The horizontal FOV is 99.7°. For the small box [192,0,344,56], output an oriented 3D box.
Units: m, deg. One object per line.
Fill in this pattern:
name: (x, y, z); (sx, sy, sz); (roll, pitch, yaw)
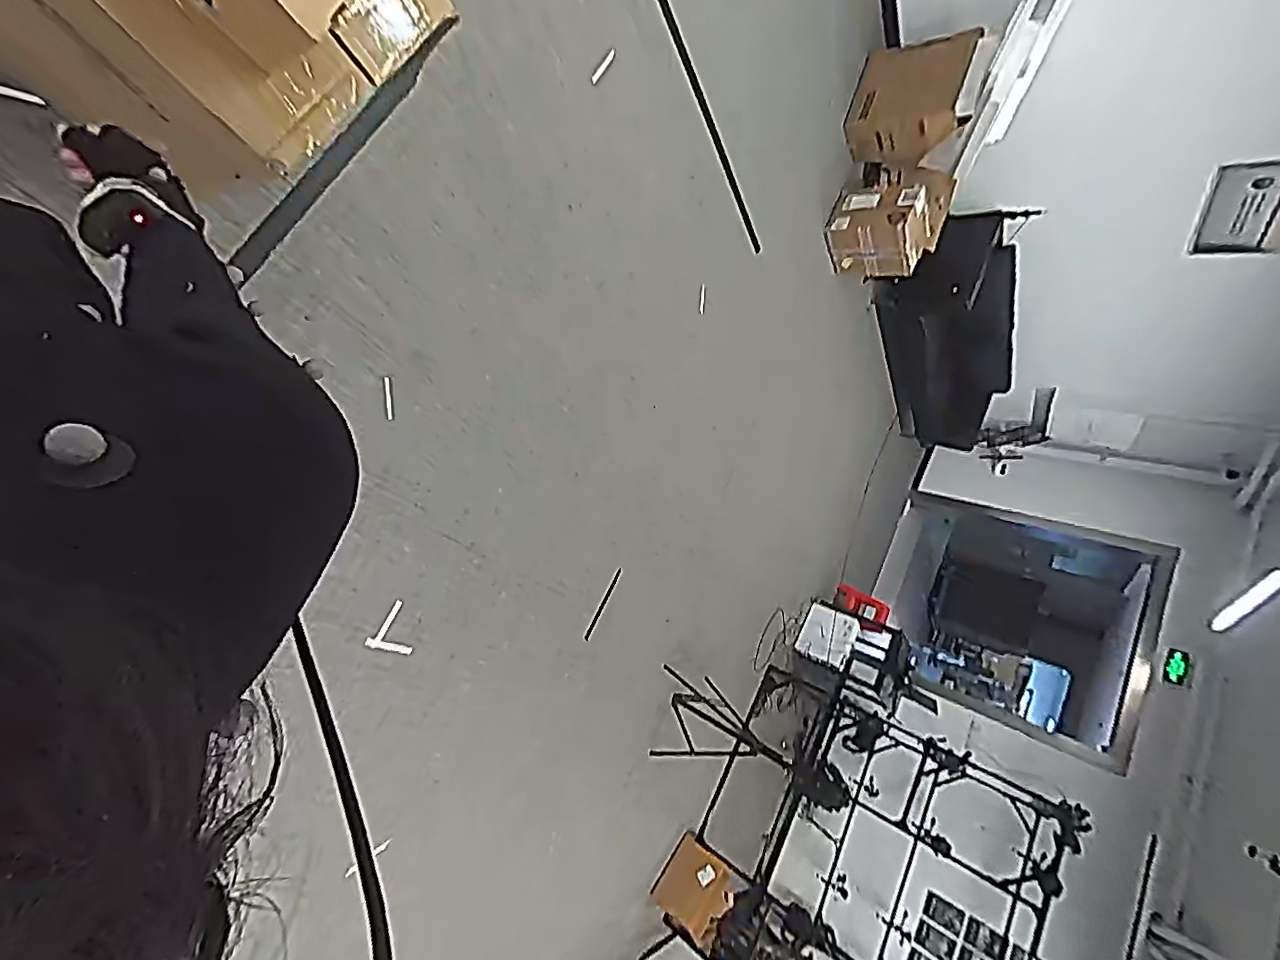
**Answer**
small box: (-0.434, -0.618, 0.602); (0.179, 0.176, 0.168); (38, 74, -51)
